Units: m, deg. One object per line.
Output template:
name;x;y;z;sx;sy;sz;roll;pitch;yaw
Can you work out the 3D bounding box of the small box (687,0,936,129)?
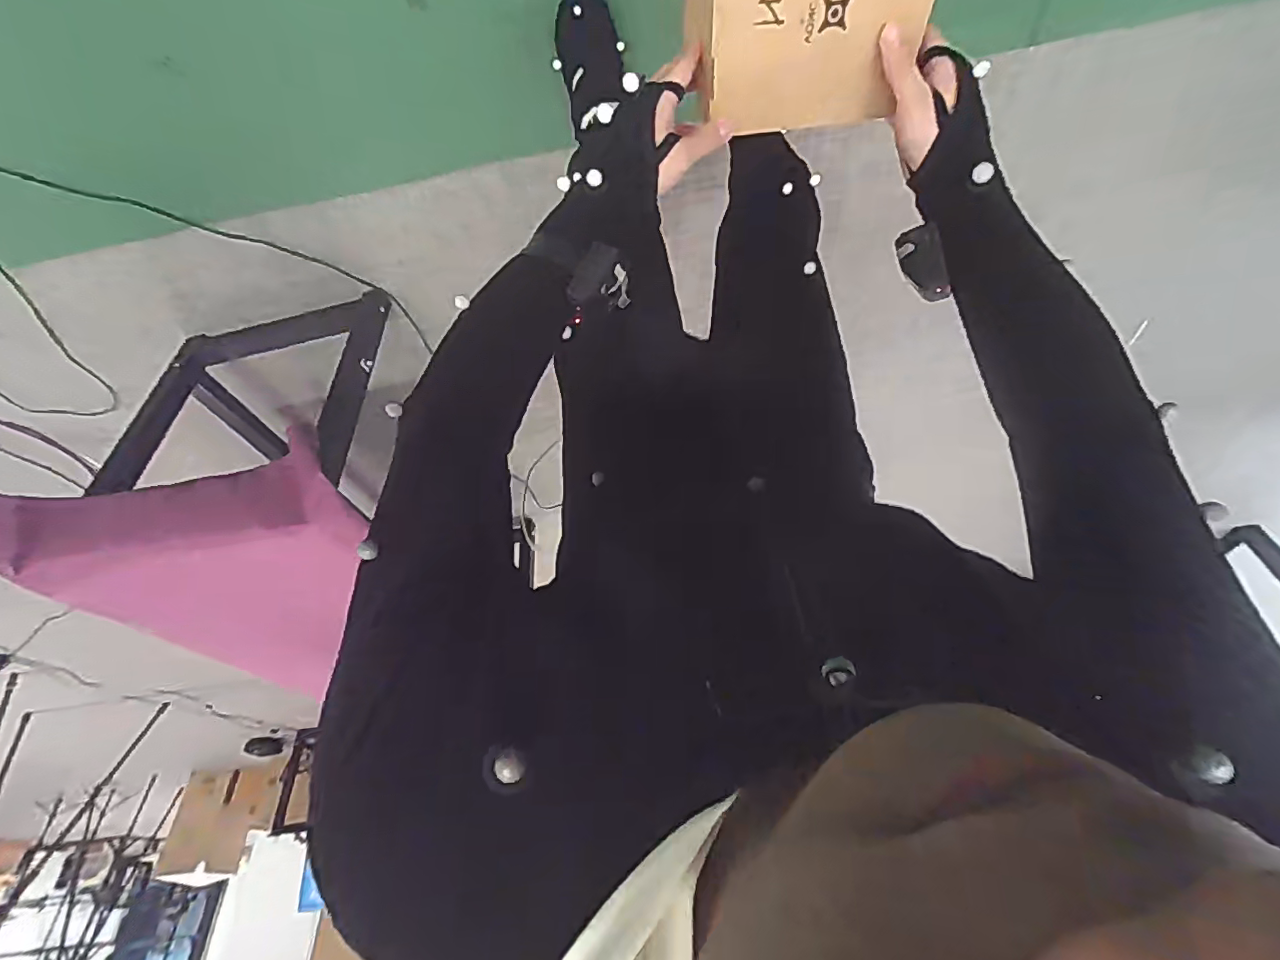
small box;0.141;-0.438;0.466;0.179;0.176;0.168;-6;146;0
